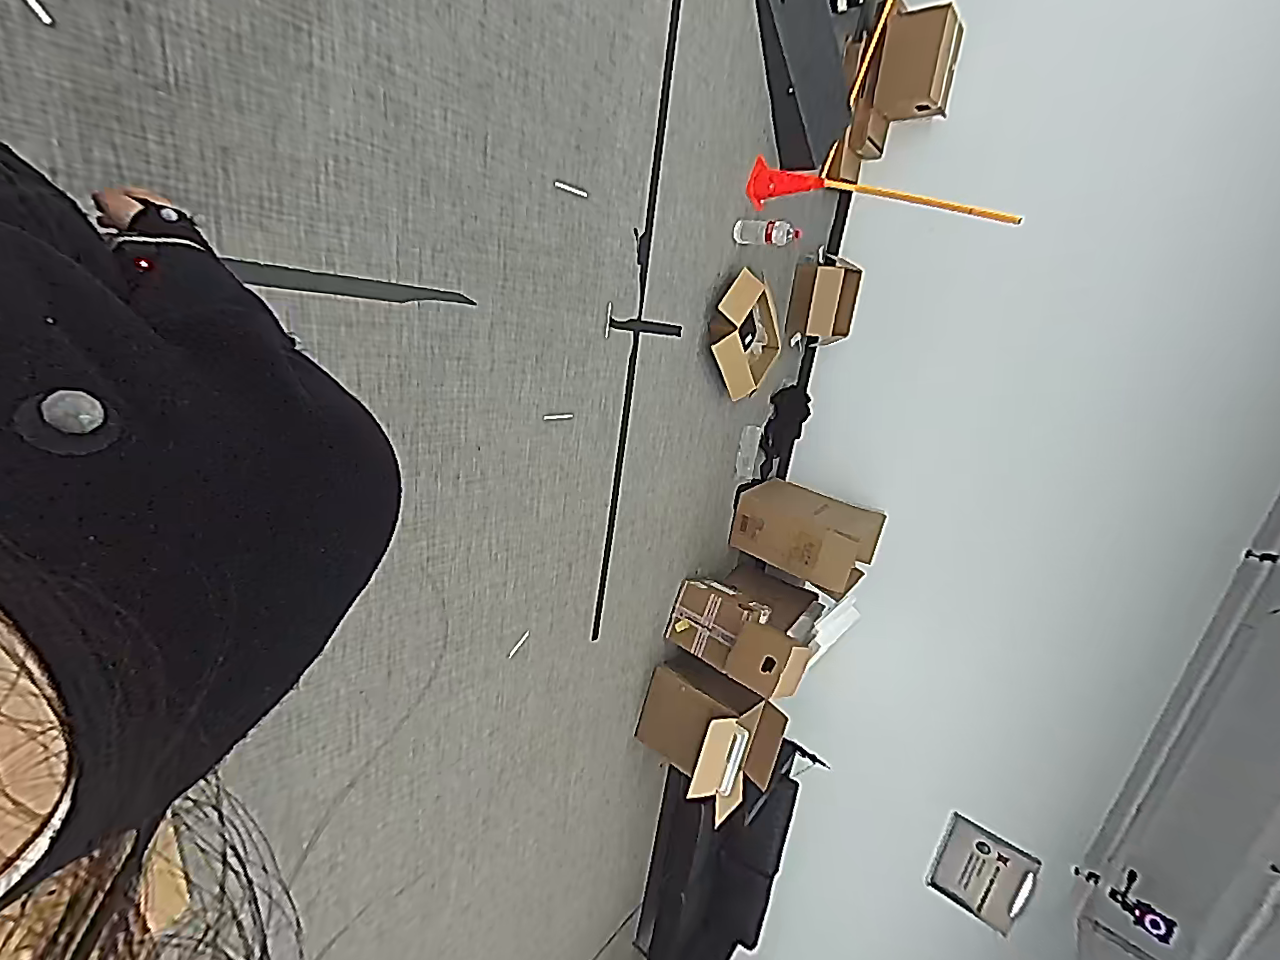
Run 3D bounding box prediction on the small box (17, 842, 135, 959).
[{"bbox_3d":[-1.307,0.990,1.255,0.168,0.176,0.179,-10,116,-50],"label":"small box"}]
